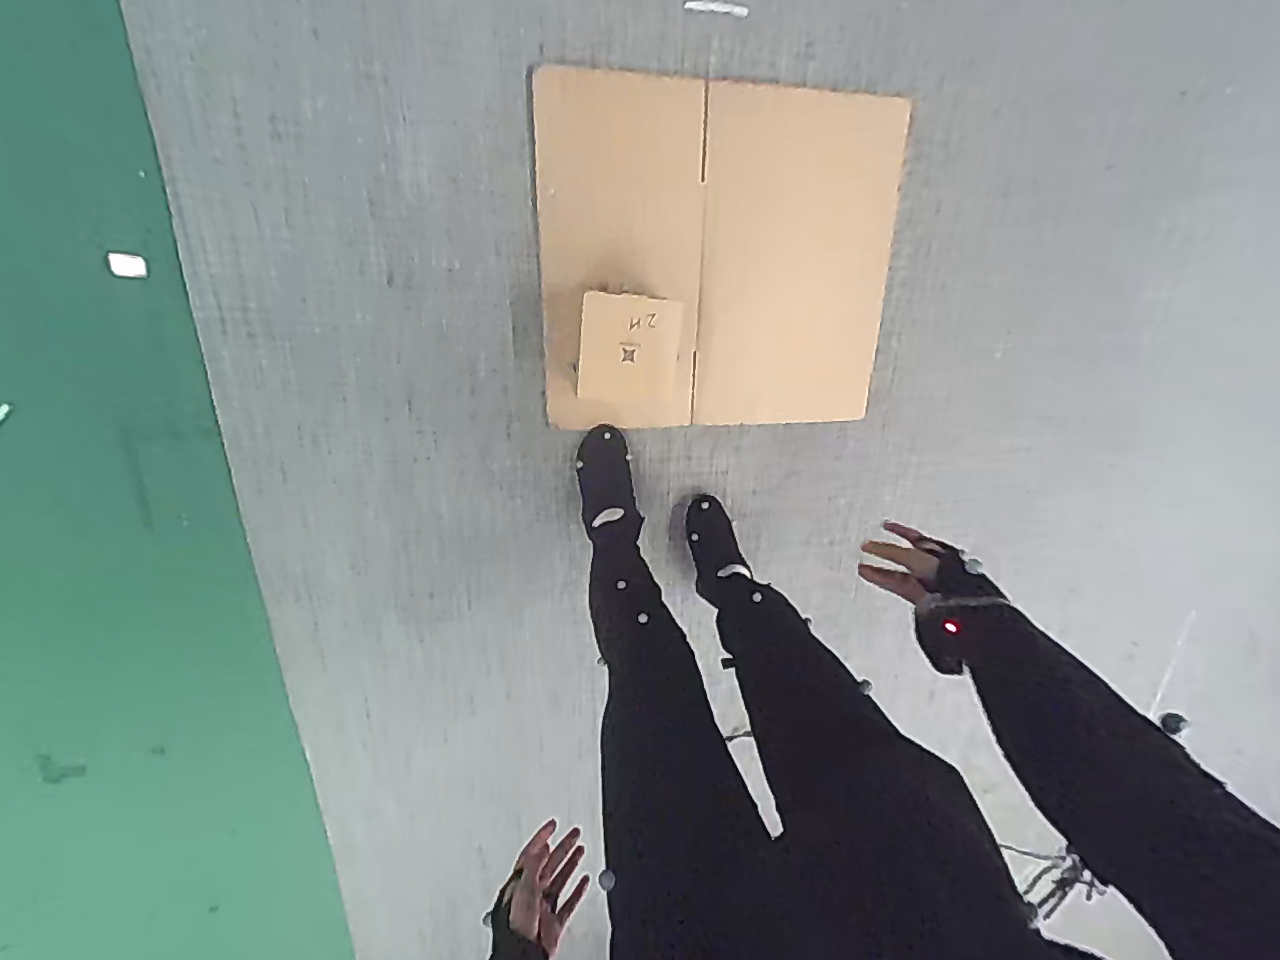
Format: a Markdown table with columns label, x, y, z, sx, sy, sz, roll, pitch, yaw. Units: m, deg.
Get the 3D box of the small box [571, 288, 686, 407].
| label | x | y | z | sx | sy | sz | roll | pitch | yaw |
| --- | --- | --- | --- | --- | --- | --- | --- | --- | --- |
| small box | -0.030 | -0.238 | 0.959 | 0.168 | 0.176 | 0.179 | 2 | 109 | -14 |
